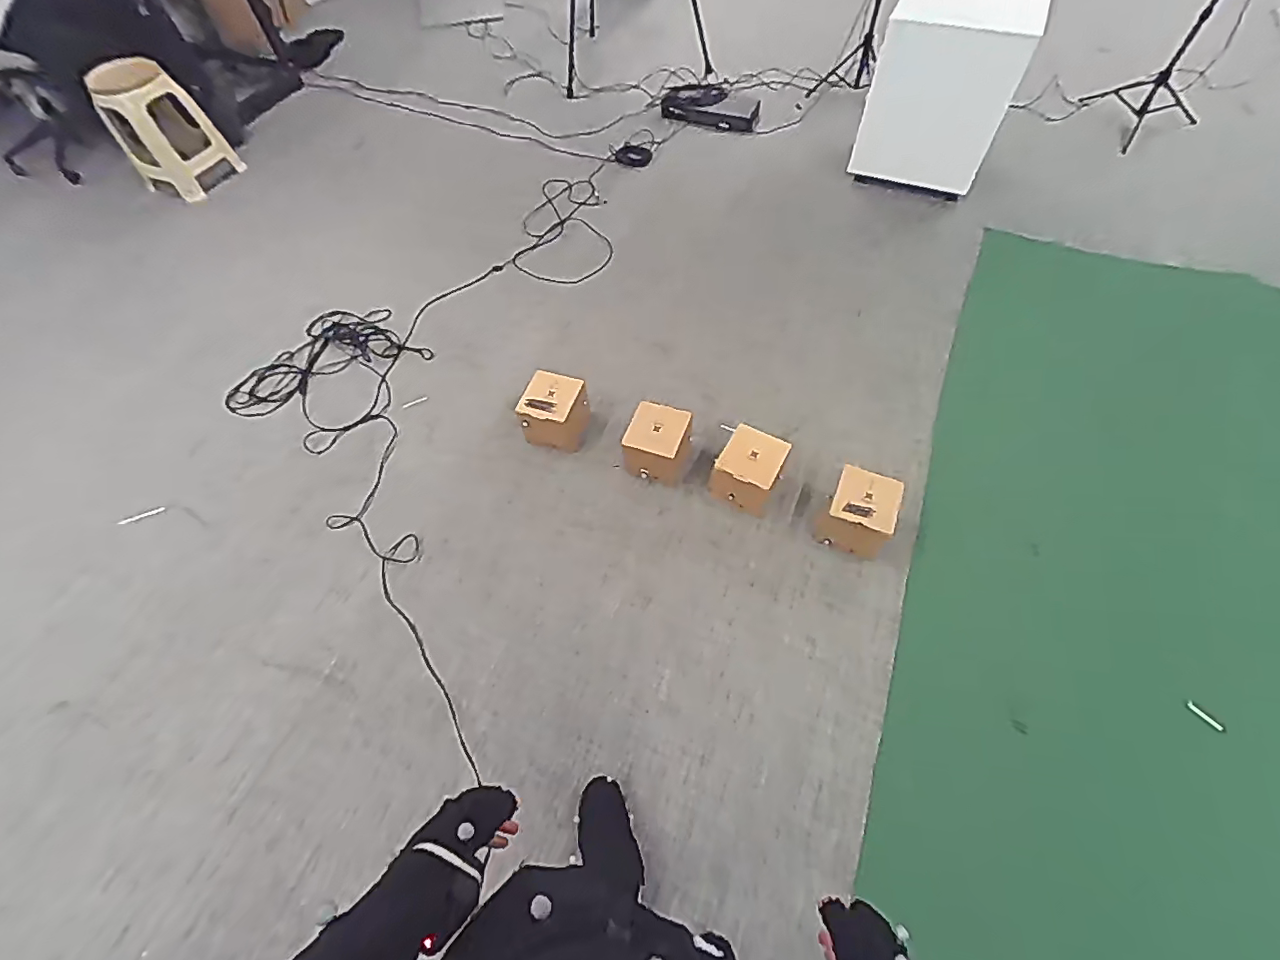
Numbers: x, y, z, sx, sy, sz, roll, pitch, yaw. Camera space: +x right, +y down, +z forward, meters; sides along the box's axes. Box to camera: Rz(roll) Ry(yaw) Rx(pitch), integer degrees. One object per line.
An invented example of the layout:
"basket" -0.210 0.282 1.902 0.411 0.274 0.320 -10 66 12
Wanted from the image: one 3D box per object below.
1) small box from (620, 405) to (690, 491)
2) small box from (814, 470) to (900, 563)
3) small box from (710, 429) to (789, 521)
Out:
"small box" 0.049 -0.095 1.655 0.168 0.176 0.179 16 62 14
"small box" 0.599 0.107 1.511 0.168 0.176 0.179 21 61 14
"small box" 0.315 -0.012 1.595 0.168 0.176 0.179 25 63 16
